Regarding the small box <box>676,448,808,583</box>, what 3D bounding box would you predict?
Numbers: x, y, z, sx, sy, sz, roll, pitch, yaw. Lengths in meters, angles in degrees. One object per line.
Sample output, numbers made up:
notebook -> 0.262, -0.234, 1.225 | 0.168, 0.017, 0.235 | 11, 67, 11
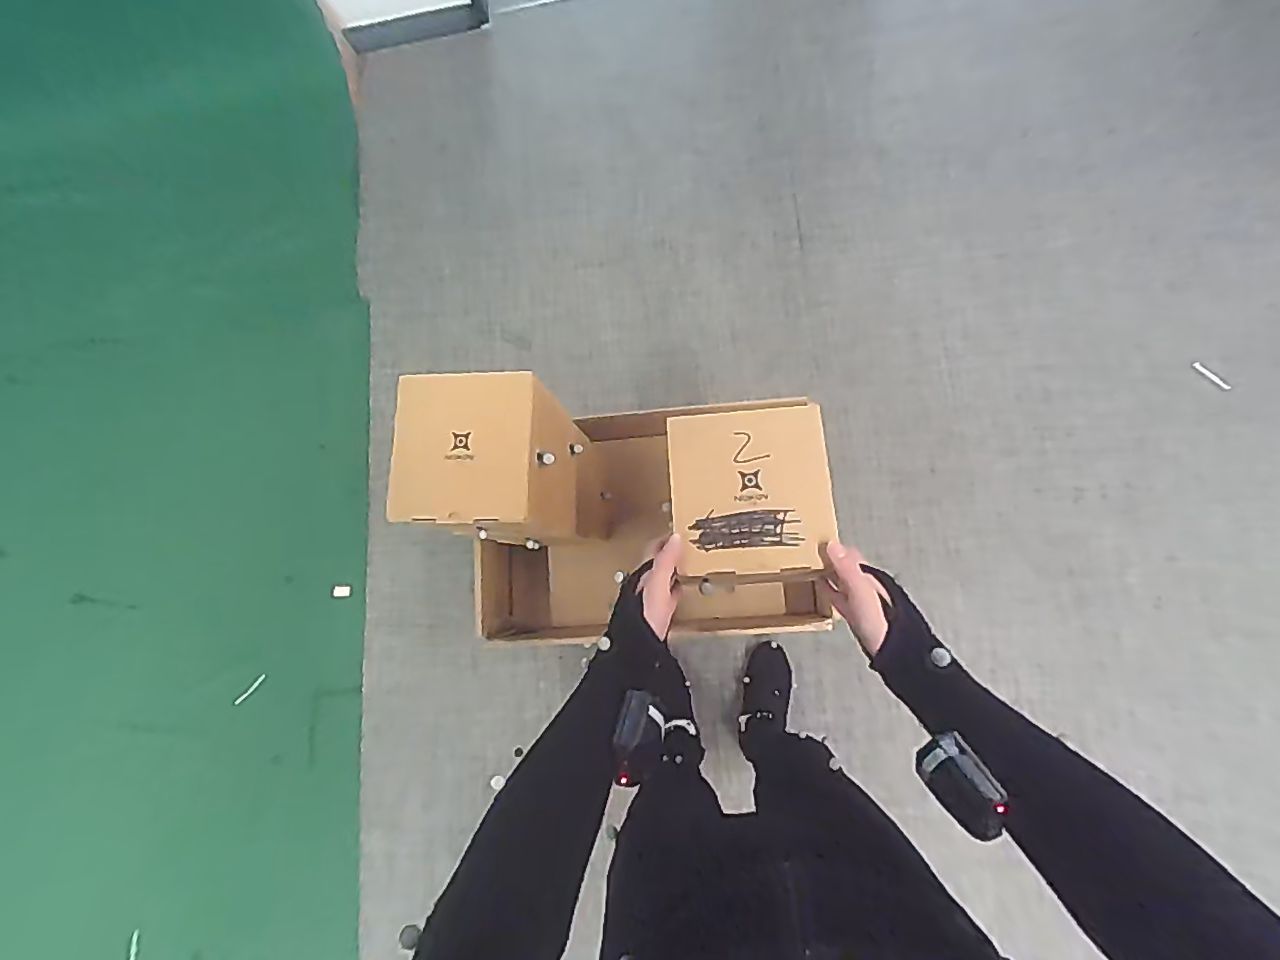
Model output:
small box -> 0.143, 0.061, 0.805 | 0.168, 0.176, 0.179 | -6, 80, 6

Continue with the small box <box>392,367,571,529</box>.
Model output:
small box -> -0.189, -0.033, 0.696 | 0.168, 0.176, 0.179 | 1, 81, 7

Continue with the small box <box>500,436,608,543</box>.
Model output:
small box -> -0.156, 0.024, 1.015 | 0.168, 0.176, 0.179 | -2, 80, 6

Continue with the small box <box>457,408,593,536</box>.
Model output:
small box -> -0.173, -0.006, 0.855 | 0.168, 0.176, 0.179 | -1, 81, 8
